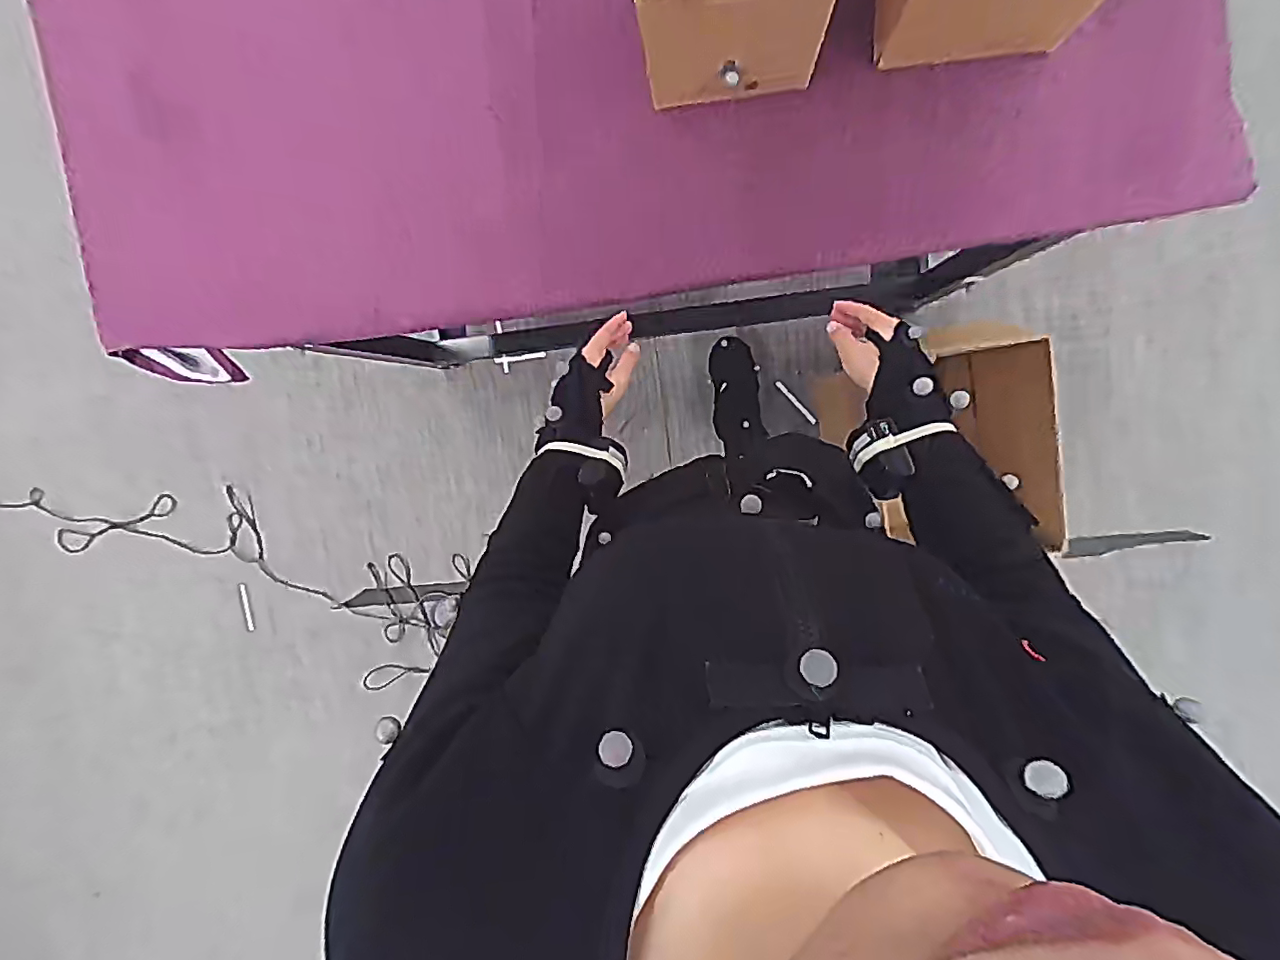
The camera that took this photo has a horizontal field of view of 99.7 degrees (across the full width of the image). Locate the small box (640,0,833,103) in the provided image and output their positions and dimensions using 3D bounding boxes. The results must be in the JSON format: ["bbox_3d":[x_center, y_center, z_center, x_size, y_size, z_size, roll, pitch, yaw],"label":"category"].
[{"bbox_3d":[0.081,-0.488,0.490,0.168,0.176,0.179,-3,97,7],"label":"small box"}]

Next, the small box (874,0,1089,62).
[{"bbox_3d":[0.320,-0.504,0.464,0.179,0.176,0.168,-1,96,7],"label":"small box"}]
